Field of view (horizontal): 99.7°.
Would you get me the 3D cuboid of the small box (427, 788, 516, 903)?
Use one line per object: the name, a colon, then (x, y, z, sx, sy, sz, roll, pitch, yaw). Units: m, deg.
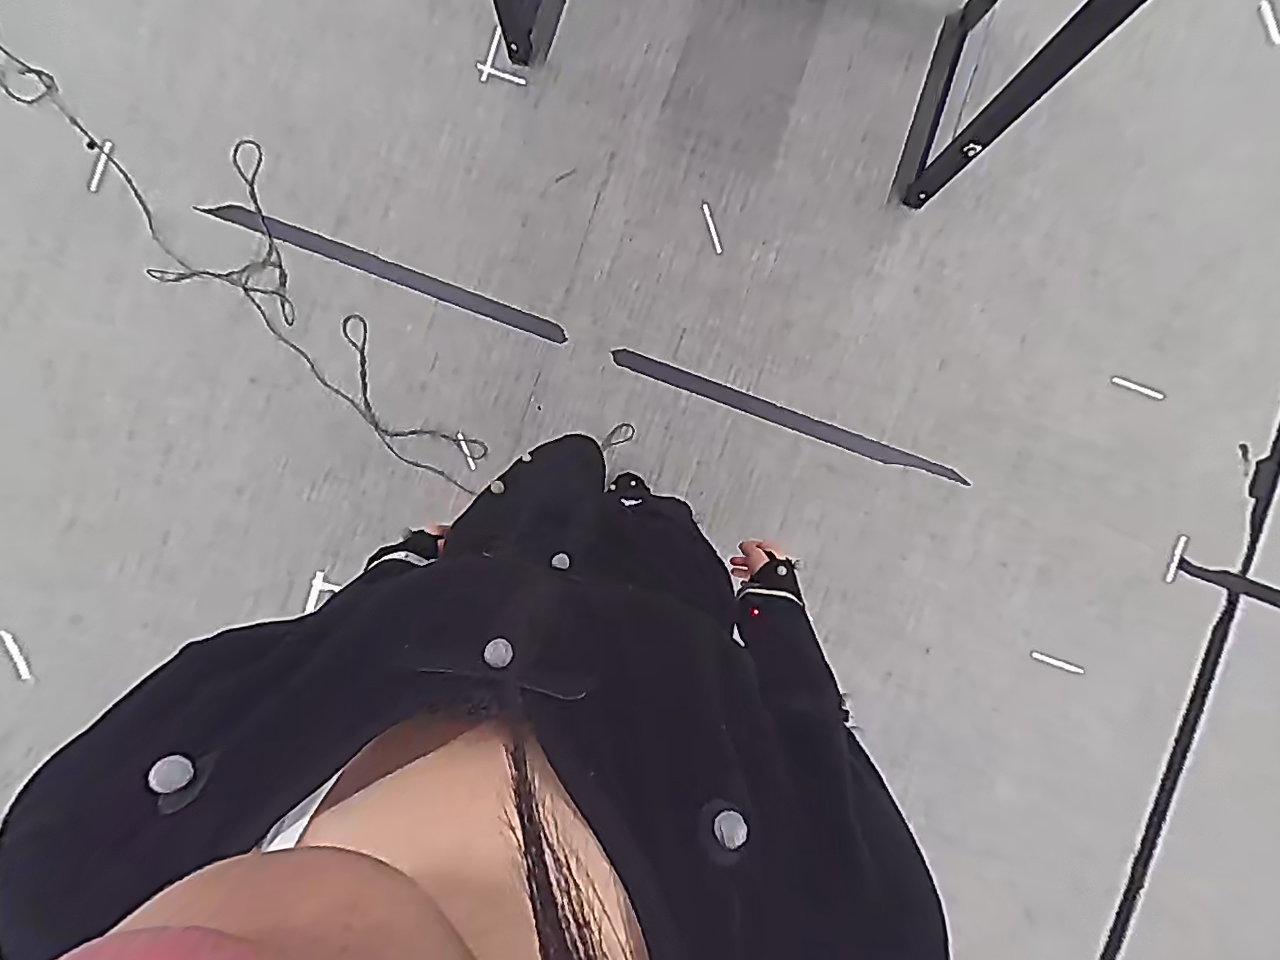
small box: (-0.420, 0.922, 1.378, 0.168, 0.176, 0.179, 10, 90, -3)
